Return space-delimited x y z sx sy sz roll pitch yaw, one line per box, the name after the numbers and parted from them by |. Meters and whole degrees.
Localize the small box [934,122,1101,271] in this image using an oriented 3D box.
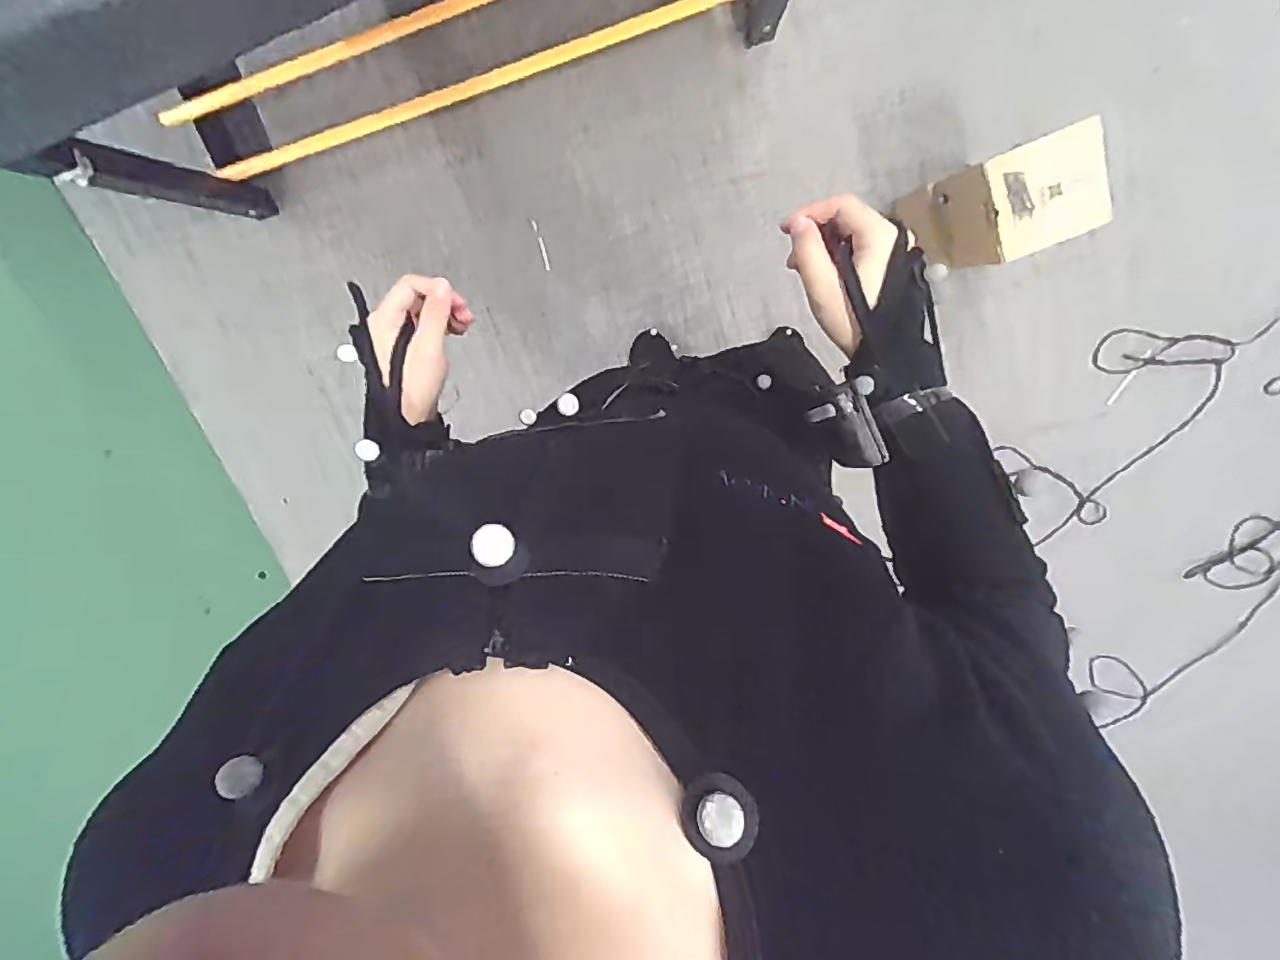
0.647 -0.481 0.949 0.179 0.176 0.168 -21 106 7 | small box

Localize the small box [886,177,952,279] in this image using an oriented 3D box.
0.639 -0.527 1.107 0.179 0.176 0.168 -22 105 8 | small box
